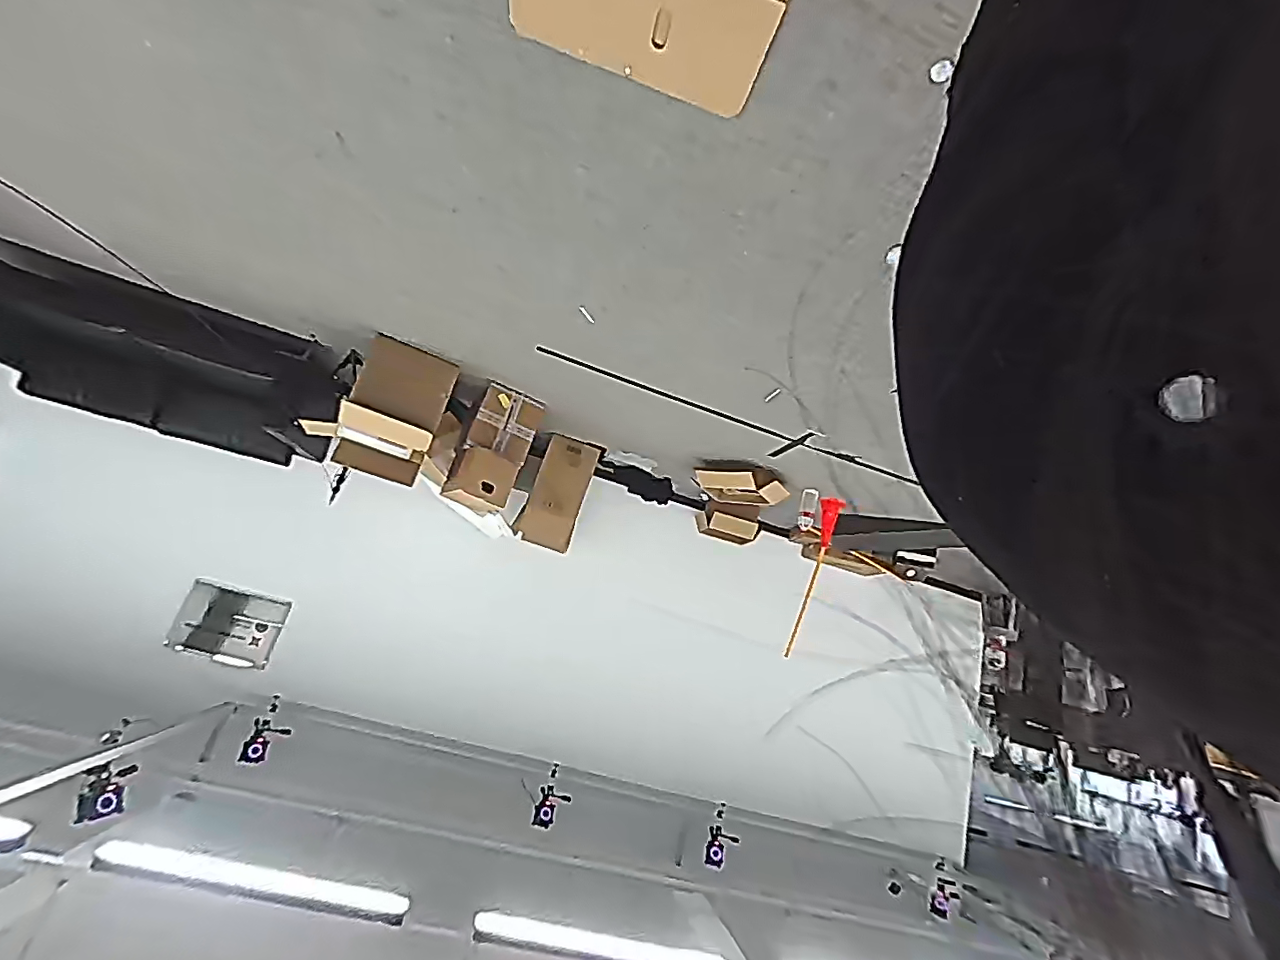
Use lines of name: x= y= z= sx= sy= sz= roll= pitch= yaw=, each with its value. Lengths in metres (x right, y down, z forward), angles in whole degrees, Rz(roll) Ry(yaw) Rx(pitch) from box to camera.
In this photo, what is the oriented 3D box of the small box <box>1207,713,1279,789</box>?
small box: x=1.791 y=0.784 z=1.557 sx=0.179 sy=0.176 sz=0.168 roll=20 pitch=163 yaw=-14
